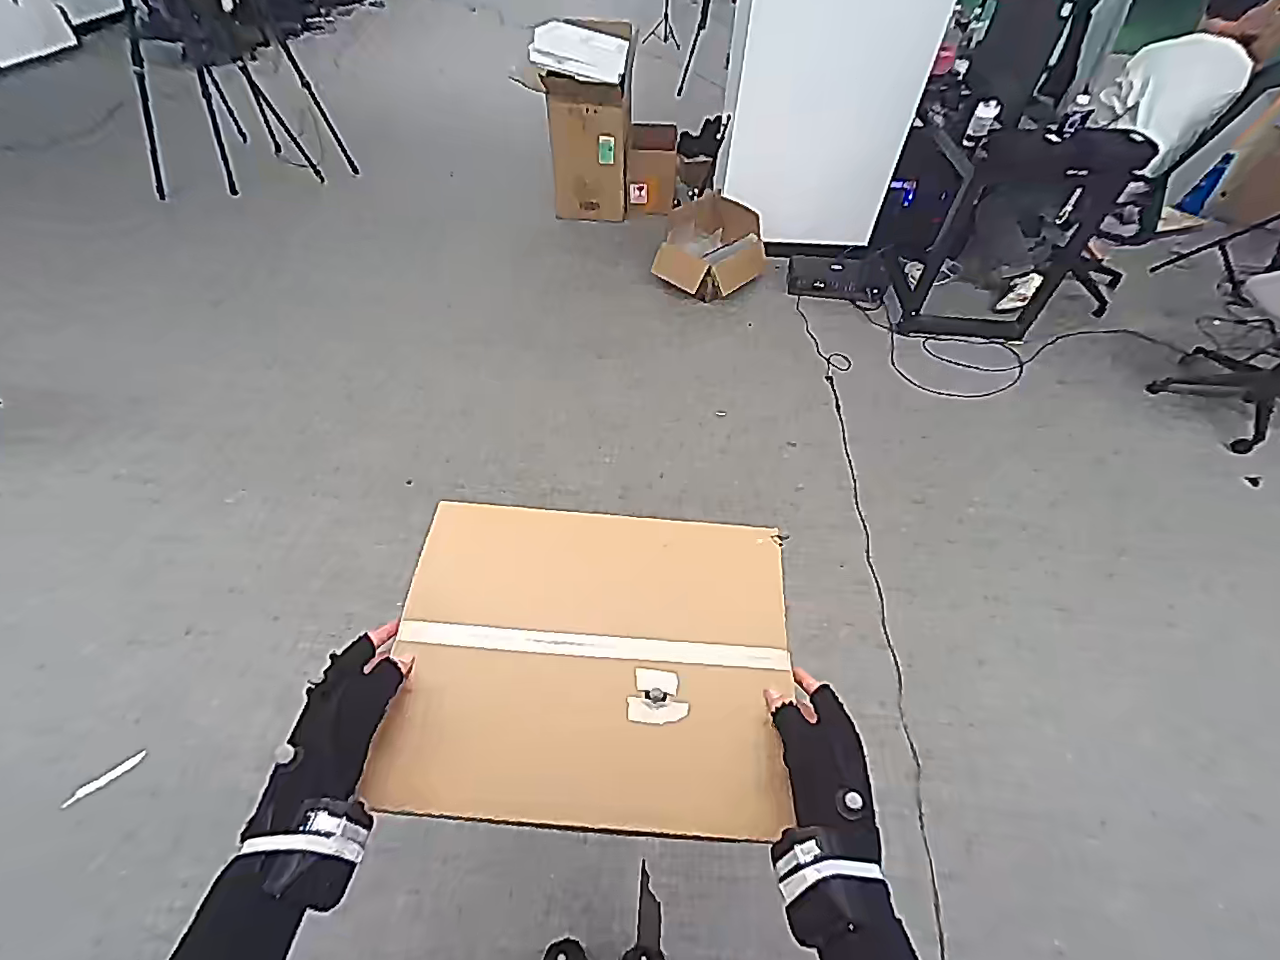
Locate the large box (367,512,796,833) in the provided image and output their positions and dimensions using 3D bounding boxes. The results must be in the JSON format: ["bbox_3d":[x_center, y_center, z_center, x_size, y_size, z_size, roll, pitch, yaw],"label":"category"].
[{"bbox_3d":[-0.056,0.261,0.698,0.408,0.320,0.320,5,57,-1],"label":"large box"}]
